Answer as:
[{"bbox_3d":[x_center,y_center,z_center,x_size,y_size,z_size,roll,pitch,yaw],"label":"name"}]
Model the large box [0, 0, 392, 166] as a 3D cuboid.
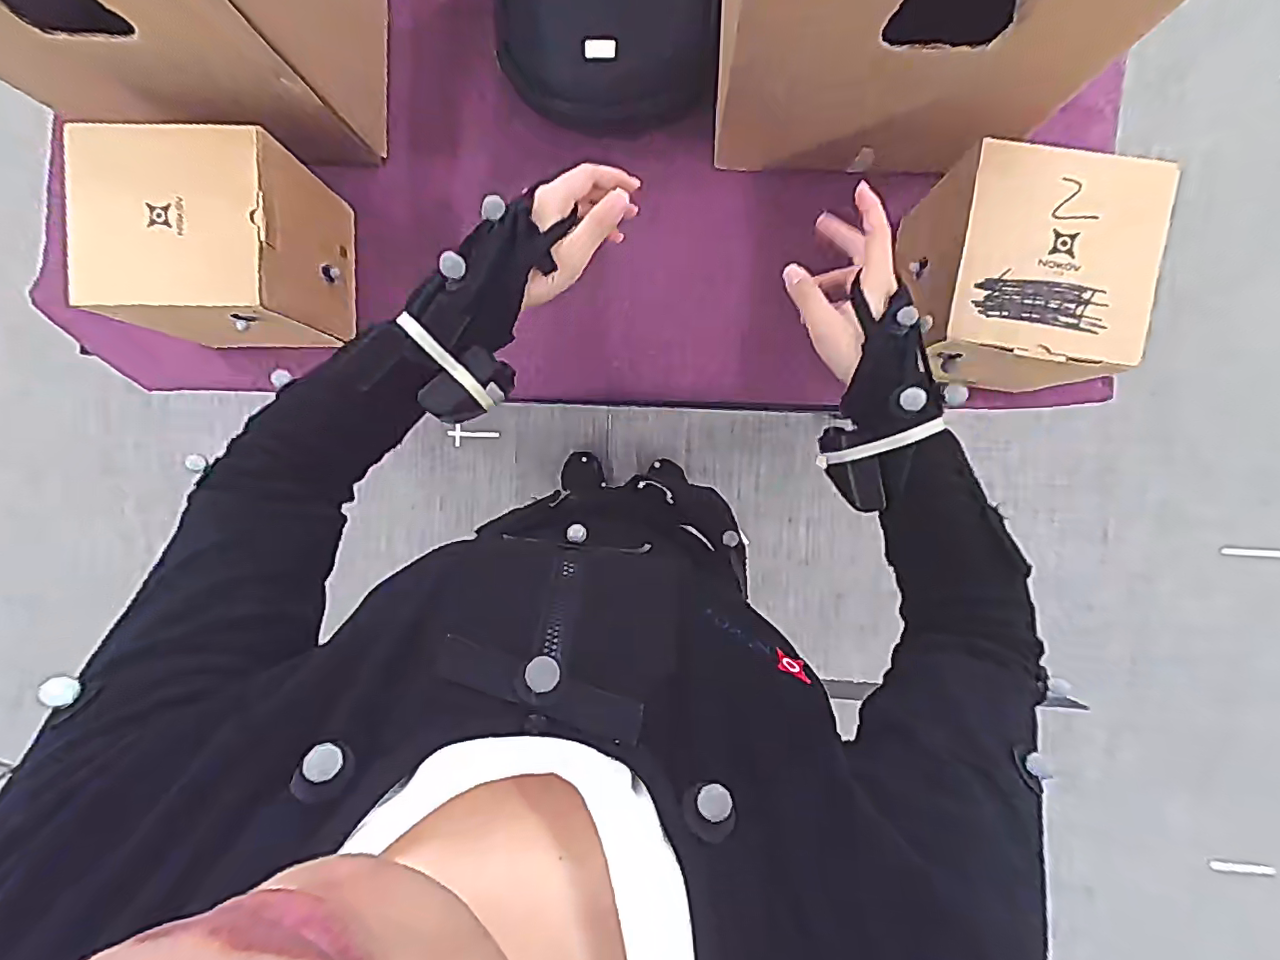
[{"bbox_3d":[-0.450,-0.572,0.497,0.320,0.320,0.408,2,95,1],"label":"large box"}]
